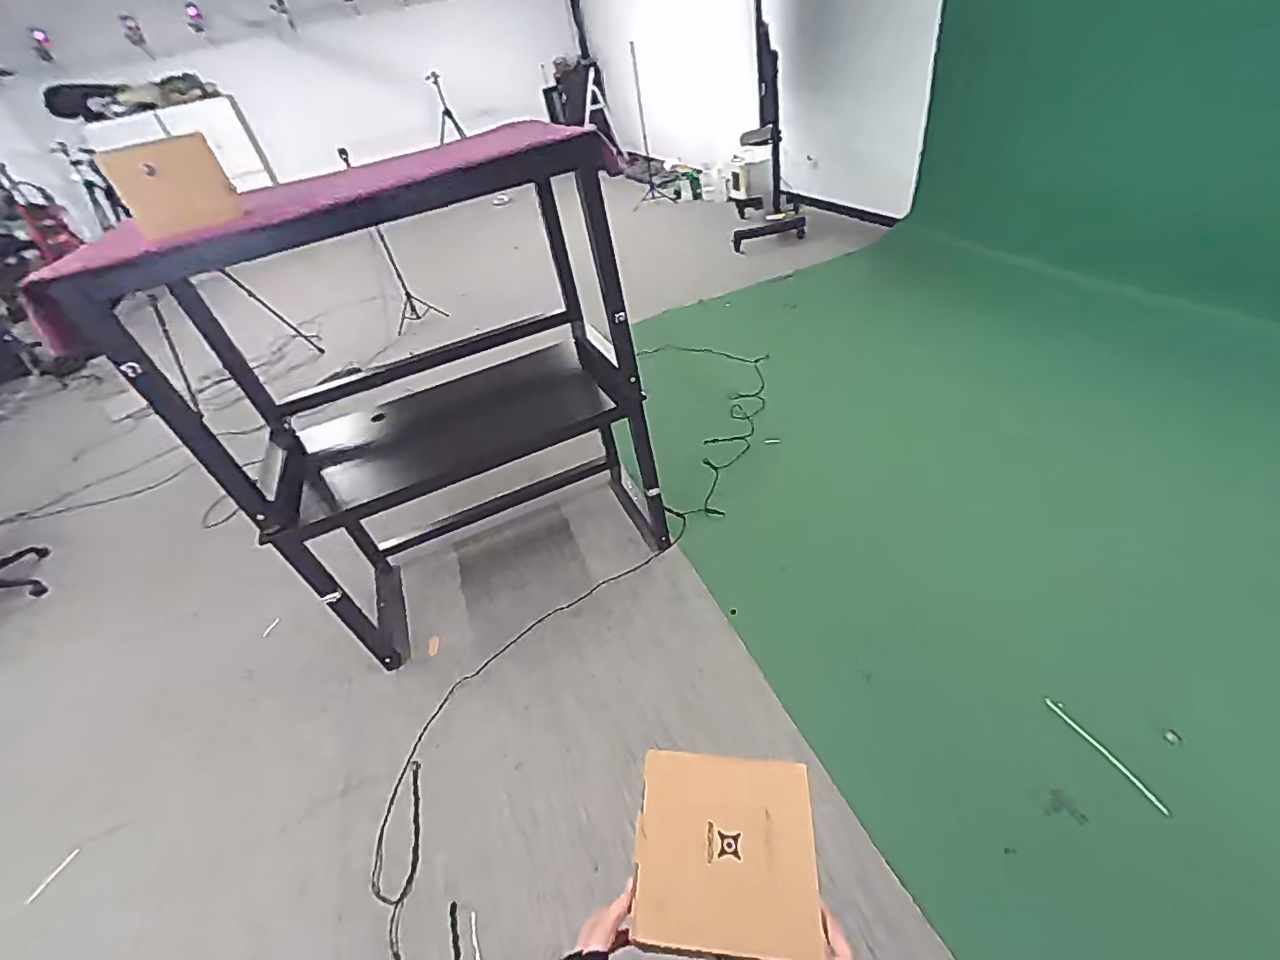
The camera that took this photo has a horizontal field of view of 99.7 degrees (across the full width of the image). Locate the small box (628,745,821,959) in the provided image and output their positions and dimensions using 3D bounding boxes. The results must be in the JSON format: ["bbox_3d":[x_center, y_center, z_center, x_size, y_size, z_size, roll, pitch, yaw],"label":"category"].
[{"bbox_3d":[0.090,0.412,0.594,0.179,0.176,0.168,2,47,7],"label":"small box"}]

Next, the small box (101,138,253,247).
[{"bbox_3d":[-1.004,-0.633,1.192,0.179,0.176,0.168,-24,41,-13],"label":"small box"}]
